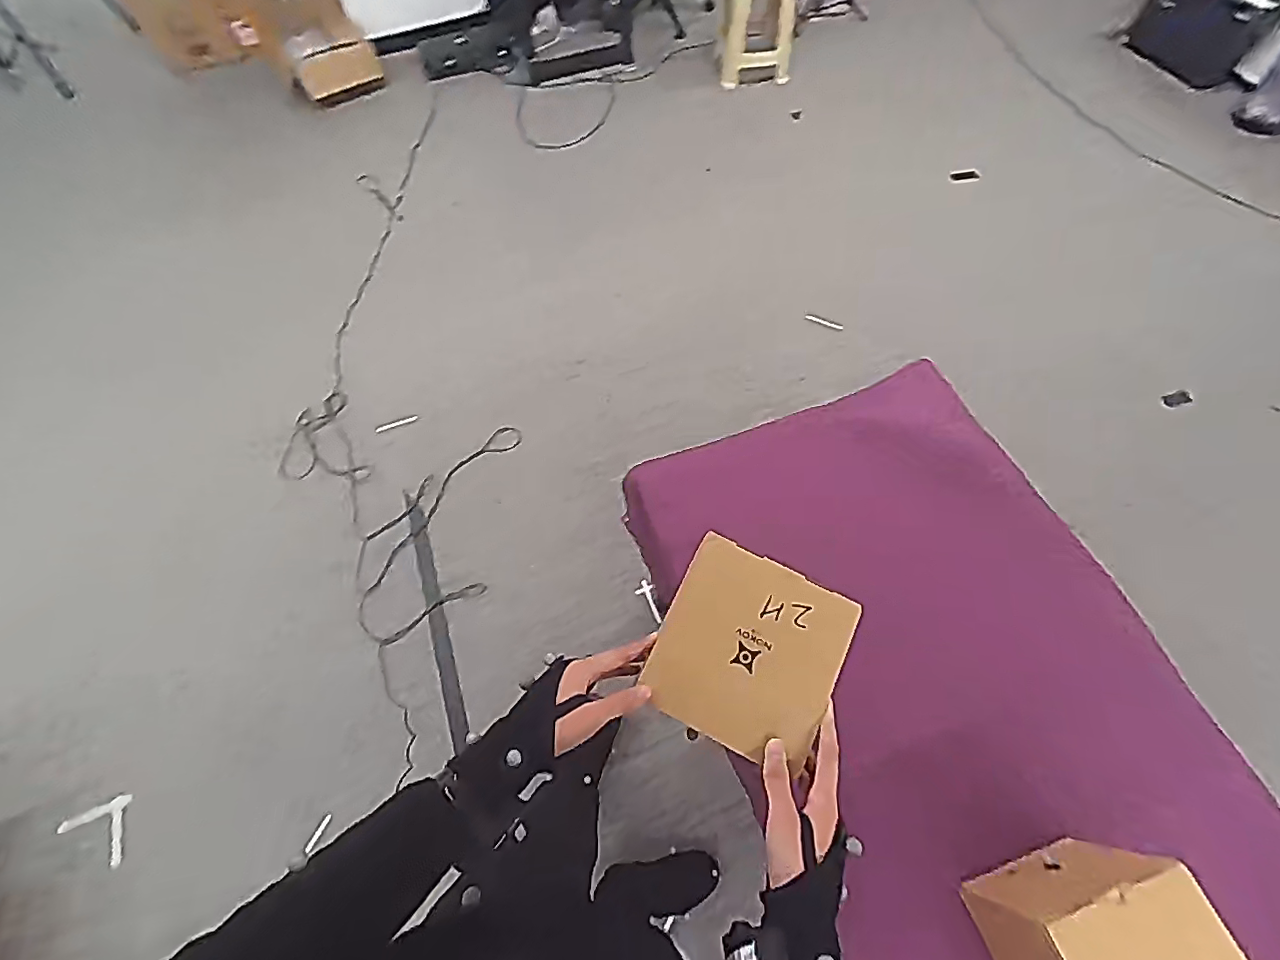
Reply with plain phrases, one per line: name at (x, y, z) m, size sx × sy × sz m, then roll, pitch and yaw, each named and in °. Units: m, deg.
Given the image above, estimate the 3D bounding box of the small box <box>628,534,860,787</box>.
small box at (0.100, 0.185, 0.578) m, size 0.168 × 0.176 × 0.179 m, roll 26°, pitch 74°, yaw 8°

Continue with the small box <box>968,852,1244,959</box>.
small box at (0.496, 0.524, 0.564) m, size 0.168 × 0.176 × 0.179 m, roll -17°, pitch 63°, yaw -7°

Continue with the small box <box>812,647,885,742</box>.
small box at (0.427, 0.498, 1.270) m, size 0.168 × 0.176 × 0.179 m, roll -21°, pitch 66°, yaw -9°
